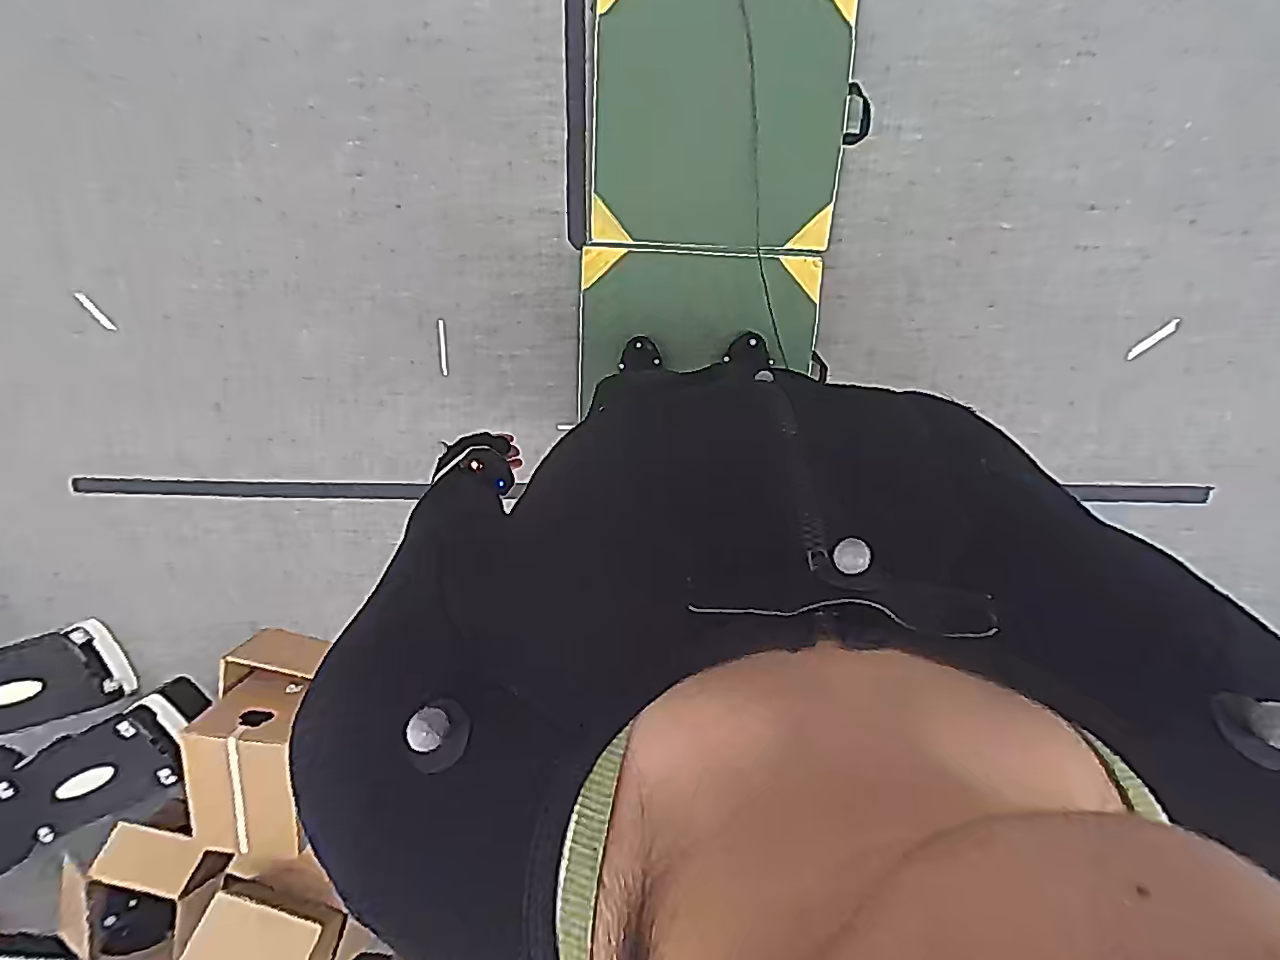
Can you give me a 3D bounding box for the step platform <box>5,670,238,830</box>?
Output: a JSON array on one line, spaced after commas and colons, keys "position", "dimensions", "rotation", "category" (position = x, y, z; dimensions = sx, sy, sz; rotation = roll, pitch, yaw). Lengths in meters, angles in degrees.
[{"position": [-1.762, 0.921, 1.841], "dimensions": [0.684, 0.204, 0.286], "rotation": [-27, 102, 9], "category": "step platform"}]
